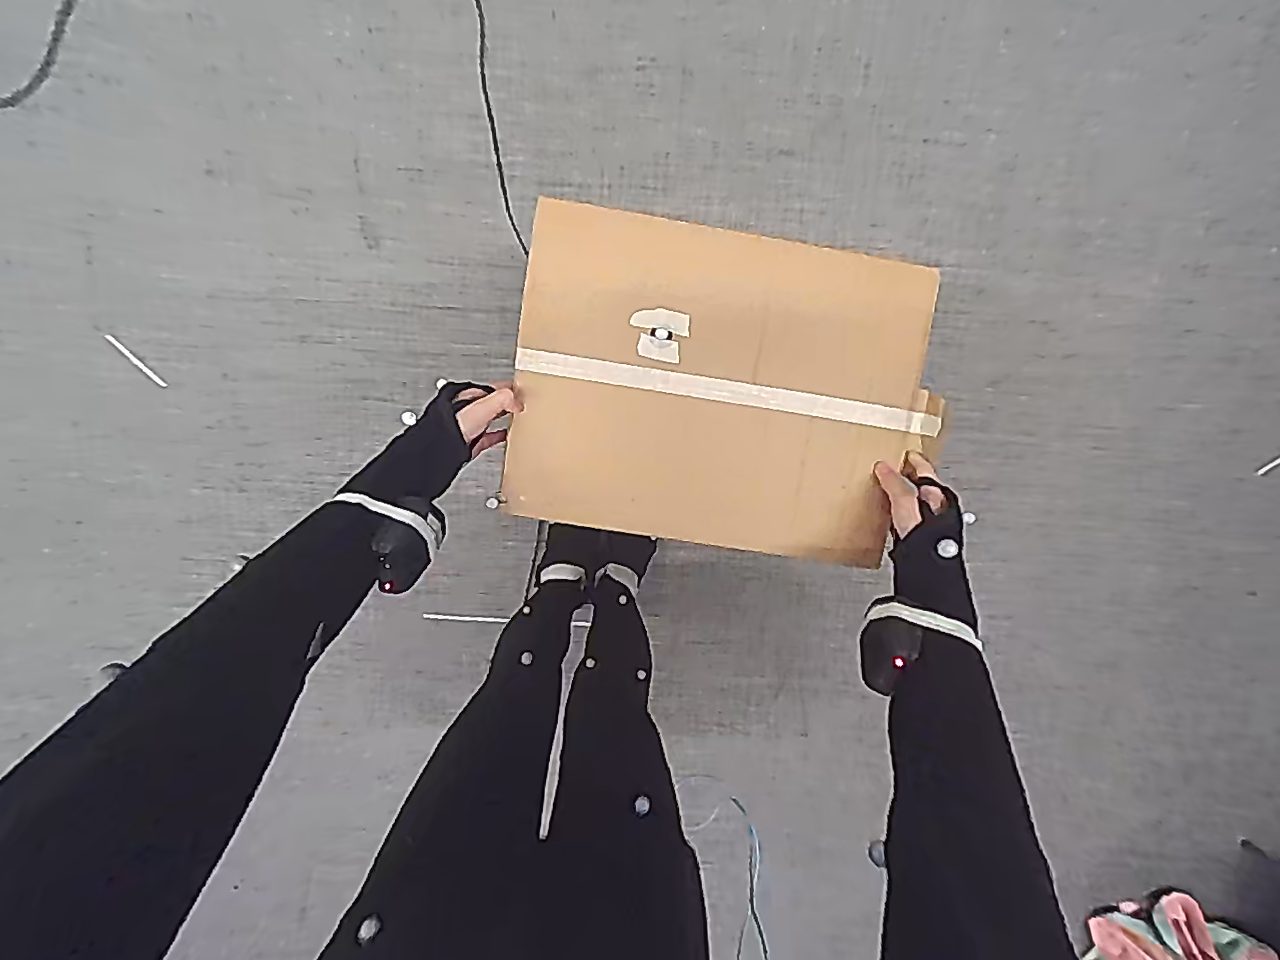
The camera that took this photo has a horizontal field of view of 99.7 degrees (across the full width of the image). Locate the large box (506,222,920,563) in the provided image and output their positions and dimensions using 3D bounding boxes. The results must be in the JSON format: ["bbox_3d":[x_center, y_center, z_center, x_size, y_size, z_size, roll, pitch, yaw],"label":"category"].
[{"bbox_3d":[0.072,-0.102,0.714,0.408,0.320,0.320,9,95,-2],"label":"large box"}]
